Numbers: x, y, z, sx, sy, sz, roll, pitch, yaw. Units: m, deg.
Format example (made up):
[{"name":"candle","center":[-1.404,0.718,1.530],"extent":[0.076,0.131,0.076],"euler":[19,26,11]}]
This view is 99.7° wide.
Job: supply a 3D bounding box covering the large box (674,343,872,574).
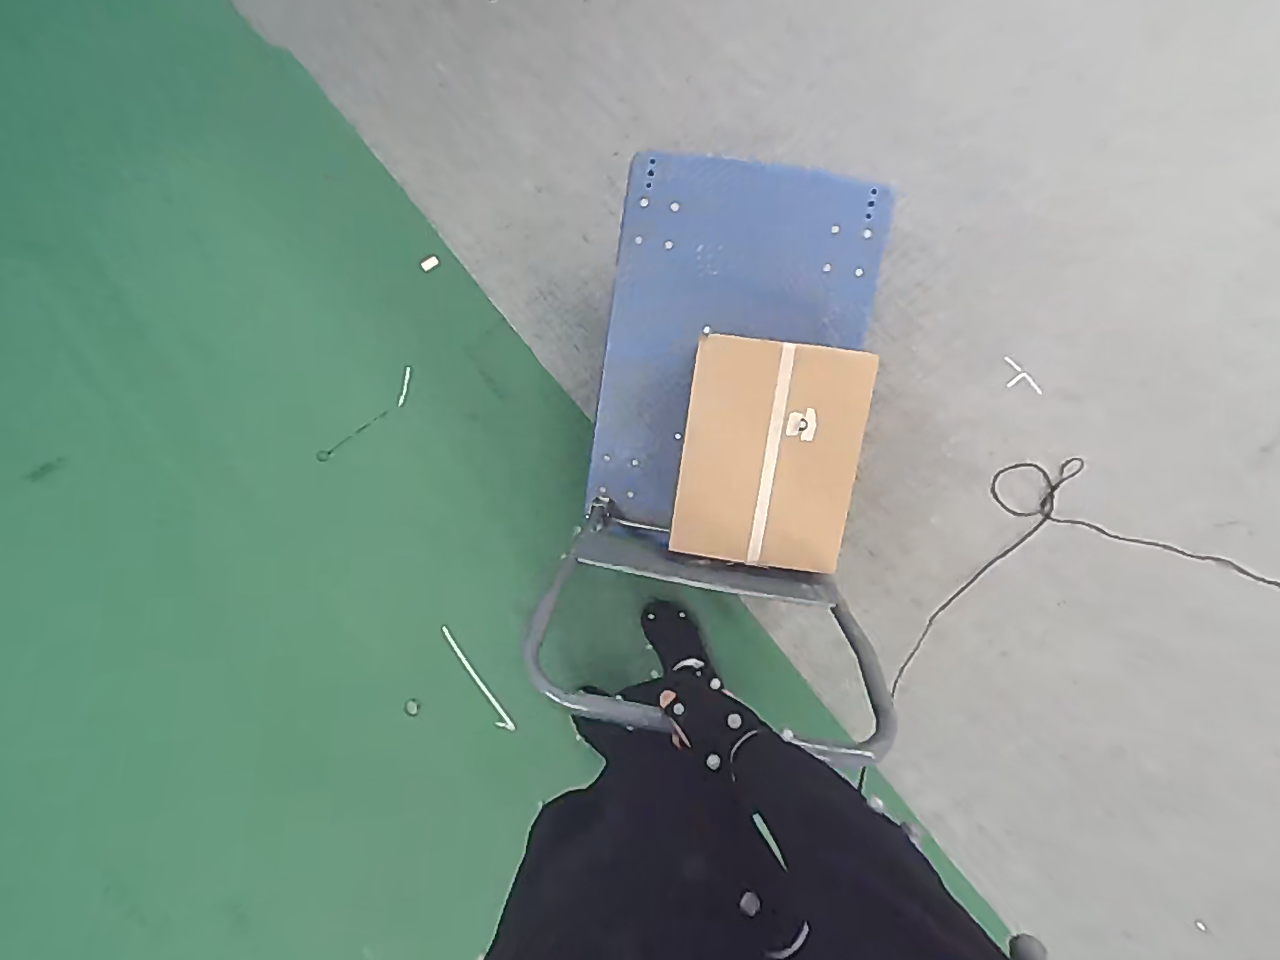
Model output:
[{"name":"large box","center":[0.249,-0.054,1.131],"extent":[0.320,0.320,0.408],"euler":[7,99,3]}]
